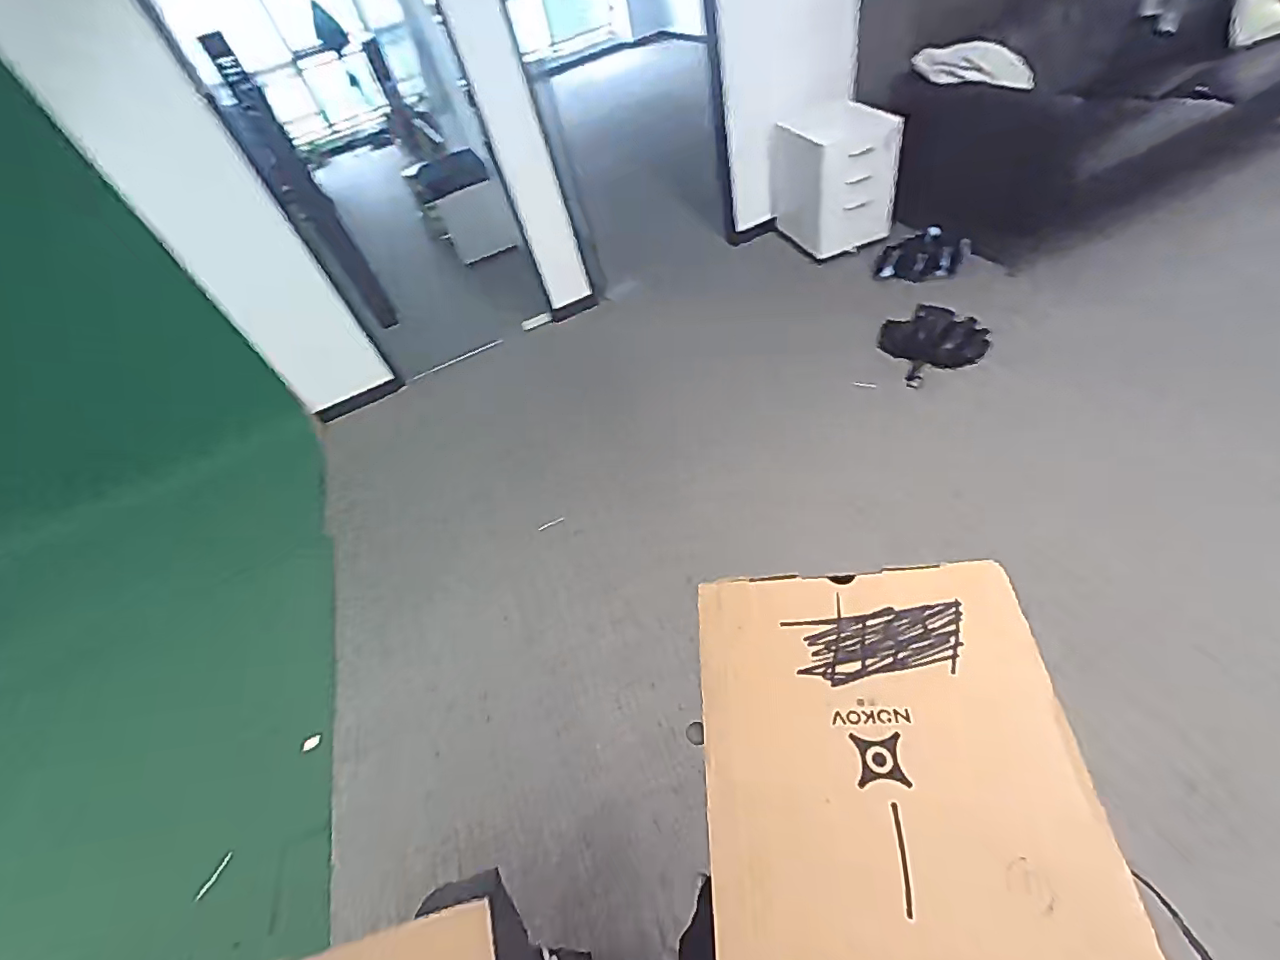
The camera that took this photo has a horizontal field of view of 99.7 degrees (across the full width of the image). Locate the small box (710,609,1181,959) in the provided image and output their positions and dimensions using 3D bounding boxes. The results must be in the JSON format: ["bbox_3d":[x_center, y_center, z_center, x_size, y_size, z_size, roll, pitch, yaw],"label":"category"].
[{"bbox_3d":[0.130,0.186,0.296,0.168,0.176,0.179,-6,56,11],"label":"small box"}]
